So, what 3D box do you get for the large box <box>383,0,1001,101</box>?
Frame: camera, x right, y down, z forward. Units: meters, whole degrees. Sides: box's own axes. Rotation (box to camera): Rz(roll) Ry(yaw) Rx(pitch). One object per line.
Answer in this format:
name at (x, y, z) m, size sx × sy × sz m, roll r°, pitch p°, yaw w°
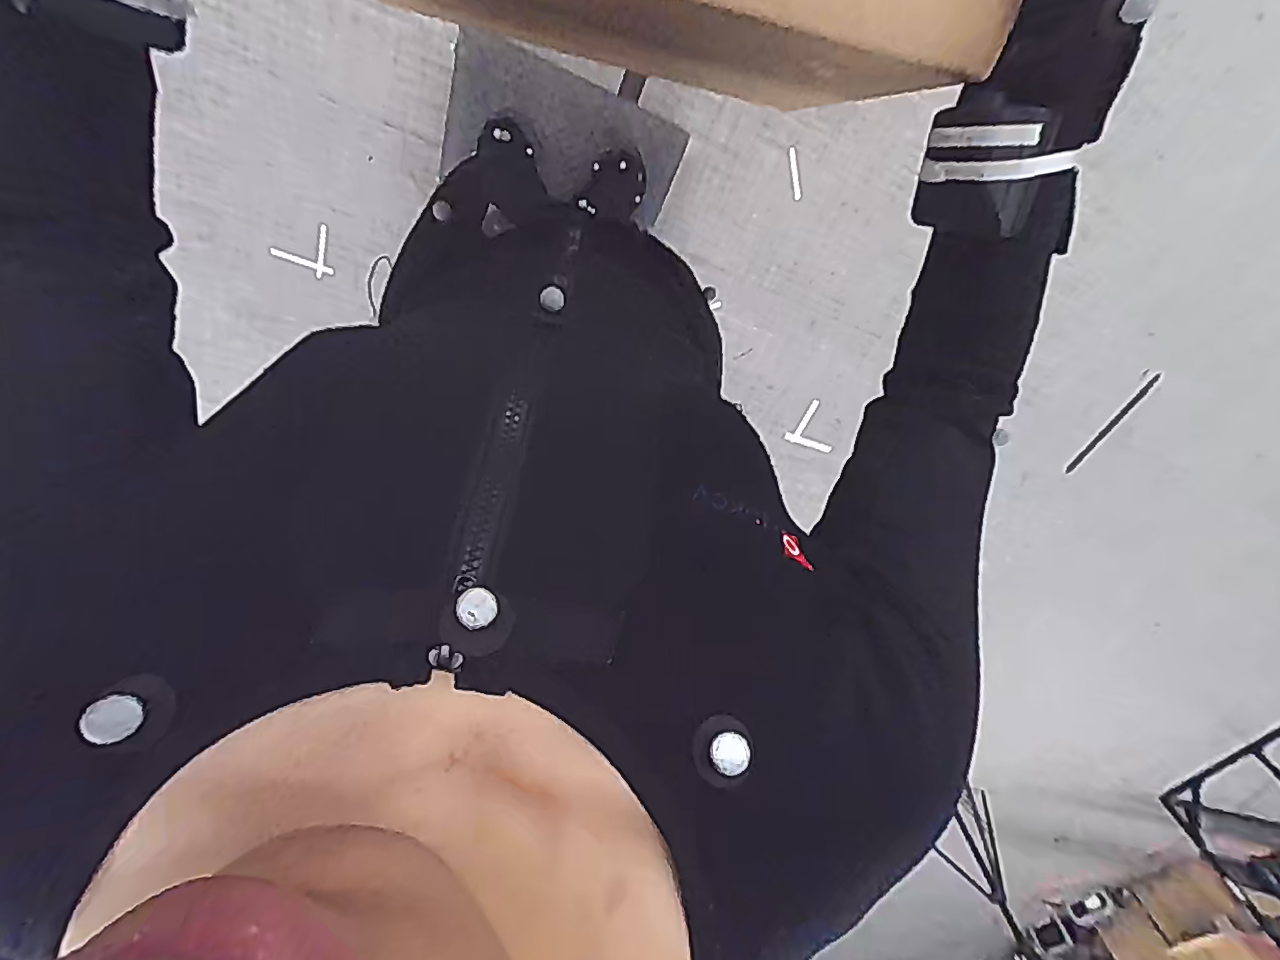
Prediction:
large box at (0.004, -0.458, 0.318) m, size 0.408 × 0.320 × 0.320 m, roll 6°, pitch 121°, yaw -11°
